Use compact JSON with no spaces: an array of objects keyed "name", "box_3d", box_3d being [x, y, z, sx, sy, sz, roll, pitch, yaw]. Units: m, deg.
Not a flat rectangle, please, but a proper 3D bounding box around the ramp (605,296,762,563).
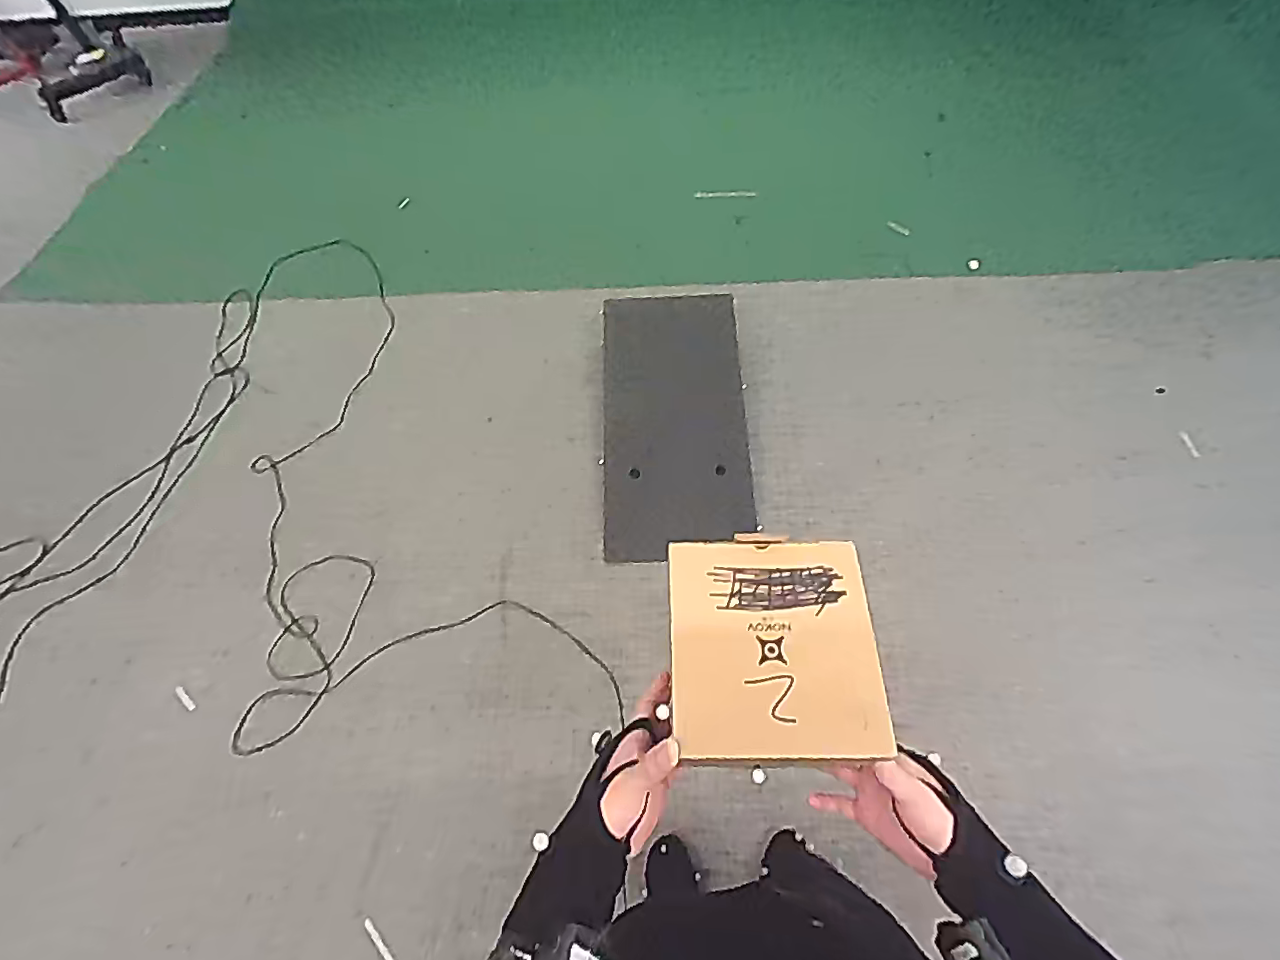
[{"name":"ramp","box_3d":[0.126,-0.213,1.862,0.509,0.206,0.991,-3,59,0]}]
